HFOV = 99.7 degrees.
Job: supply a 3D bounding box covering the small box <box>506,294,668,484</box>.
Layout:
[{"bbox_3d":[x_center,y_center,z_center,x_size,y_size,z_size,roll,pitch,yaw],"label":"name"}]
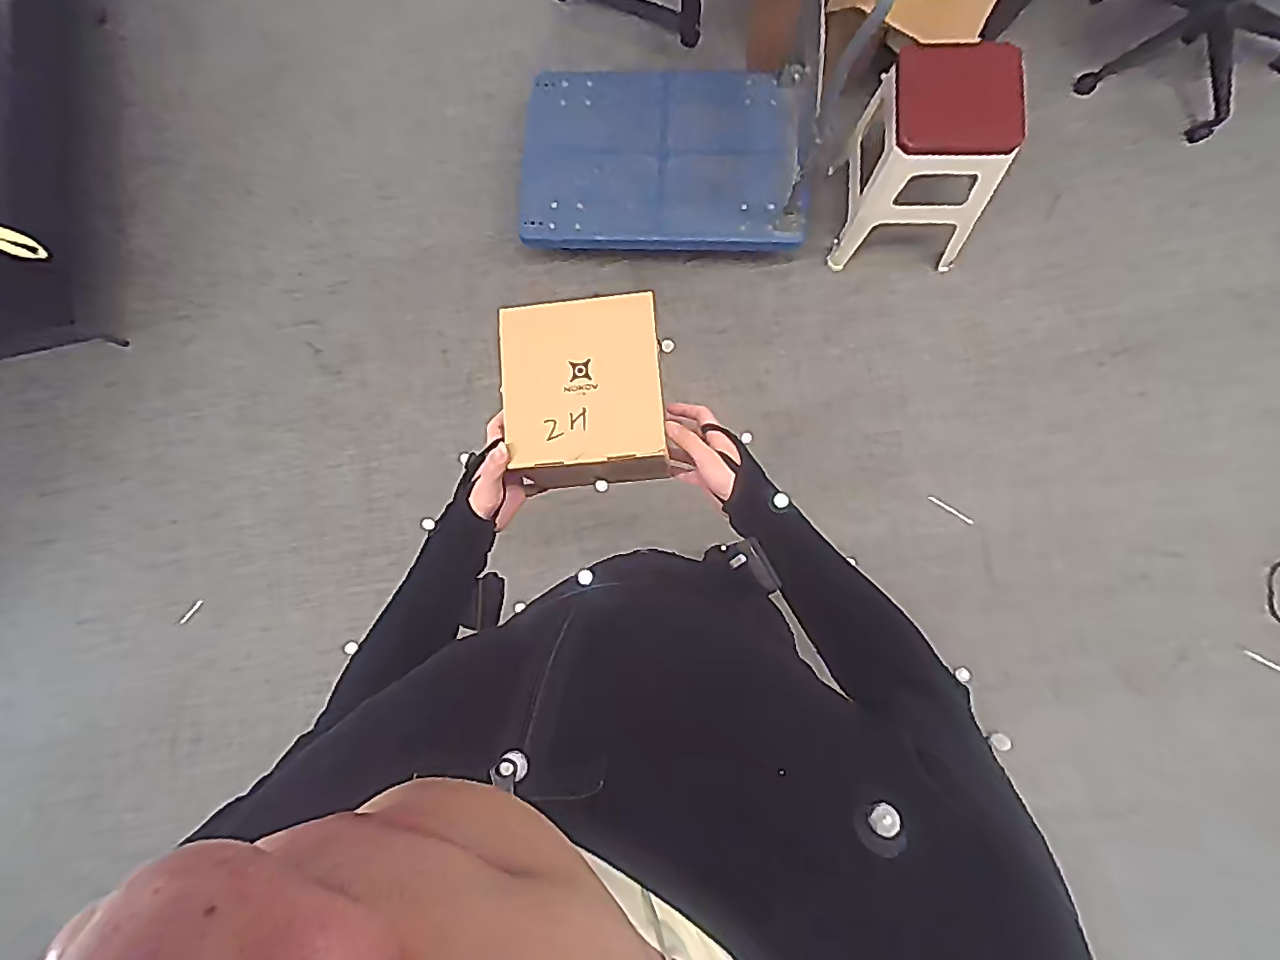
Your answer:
[{"bbox_3d":[-0.054,-0.096,0.645,0.168,0.176,0.179,-5,82,4],"label":"small box"}]
